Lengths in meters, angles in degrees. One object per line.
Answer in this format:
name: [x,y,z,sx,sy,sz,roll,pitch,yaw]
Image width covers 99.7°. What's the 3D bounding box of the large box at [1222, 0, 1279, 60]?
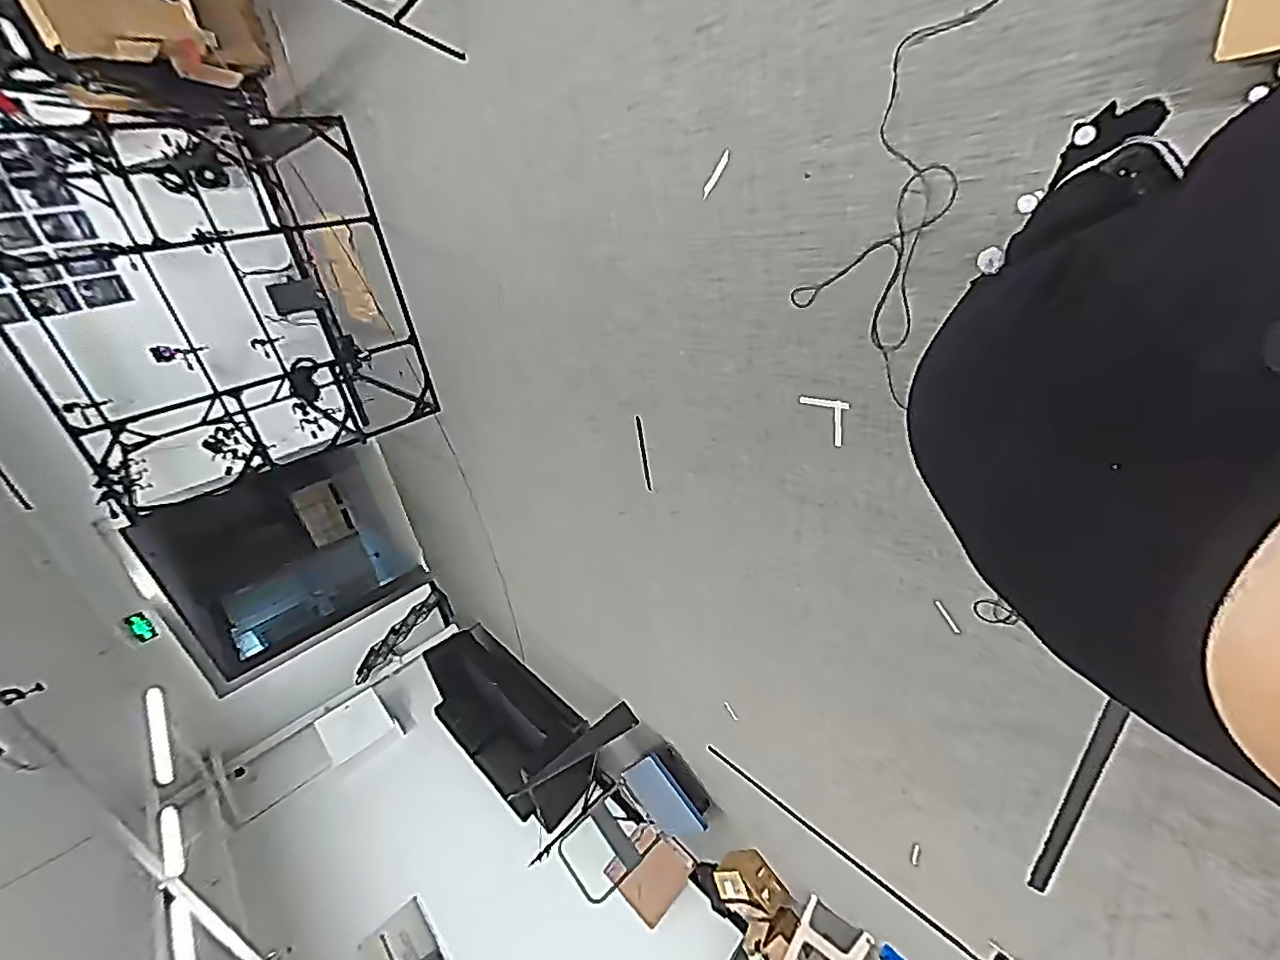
large box: [0.982,-0.717,0.597,0.408,0.320,0.320,19,129,44]
